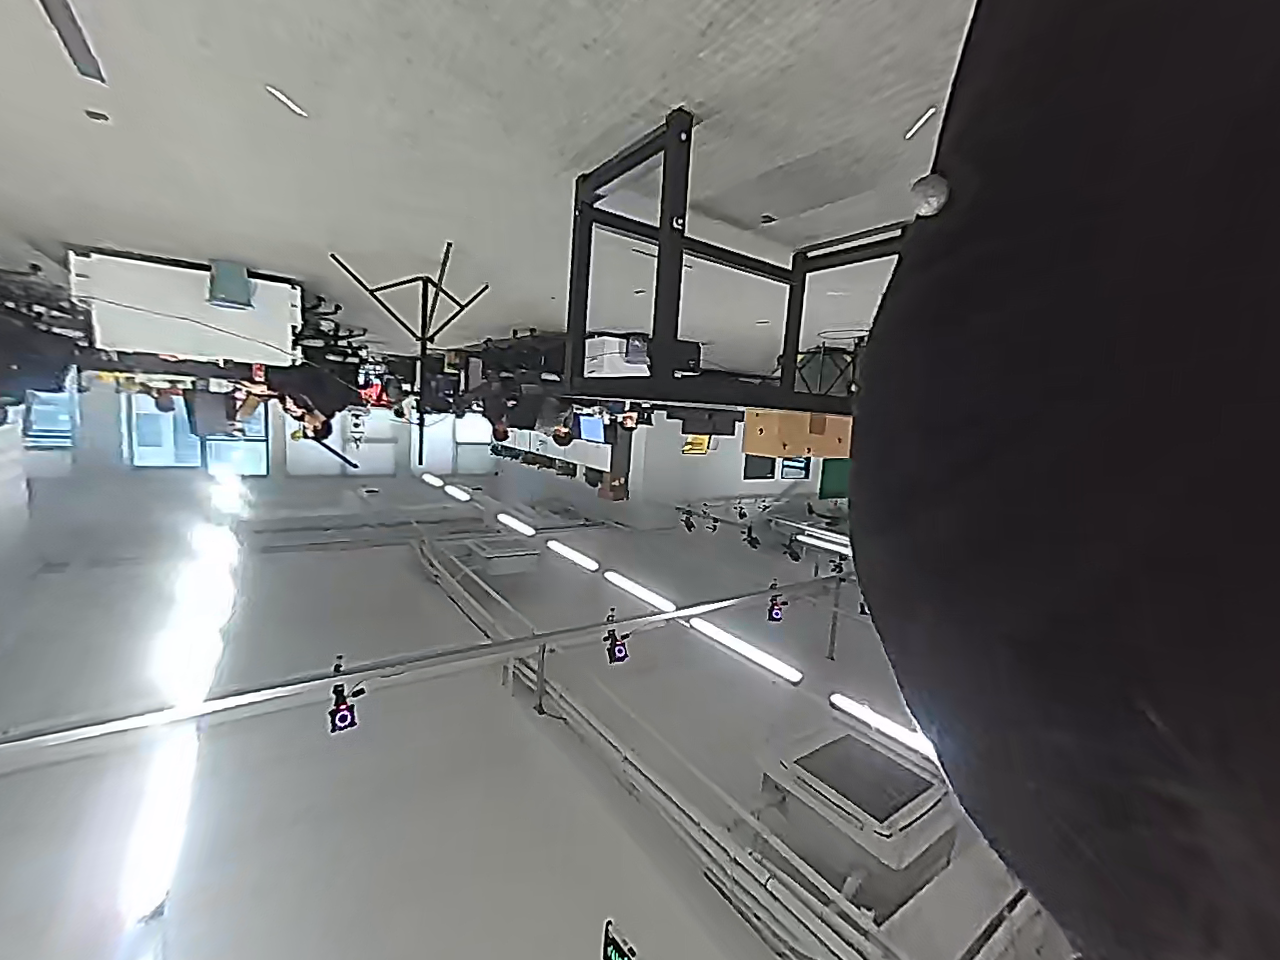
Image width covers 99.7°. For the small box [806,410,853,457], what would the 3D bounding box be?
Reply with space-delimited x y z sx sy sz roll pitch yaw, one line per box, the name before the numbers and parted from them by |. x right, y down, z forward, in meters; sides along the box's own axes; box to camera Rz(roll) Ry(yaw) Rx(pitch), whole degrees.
small box | 0.725 -0.188 2.154 0.179 0.176 0.168 -1 -171 -33

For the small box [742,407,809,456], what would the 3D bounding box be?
small box | 0.502 -0.181 1.997 0.179 0.176 0.168 -2 -170 -37
